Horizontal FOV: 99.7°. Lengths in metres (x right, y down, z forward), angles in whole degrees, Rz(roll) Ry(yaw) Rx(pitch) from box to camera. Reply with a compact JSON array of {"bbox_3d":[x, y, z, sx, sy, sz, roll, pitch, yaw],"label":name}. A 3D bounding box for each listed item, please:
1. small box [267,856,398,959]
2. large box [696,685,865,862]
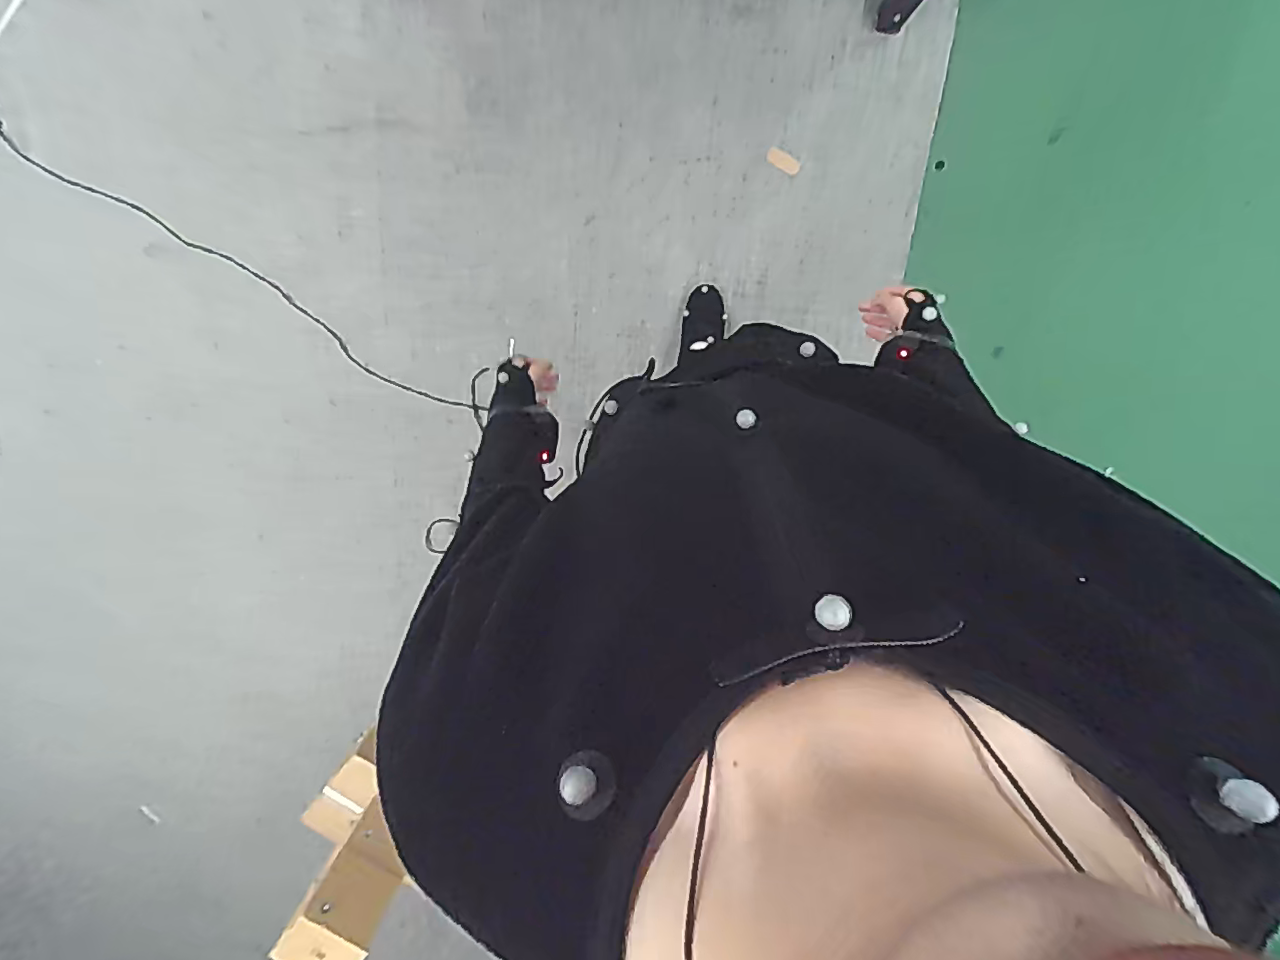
[{"bbox_3d":[-0.709,1.037,1.268,0.179,0.176,0.168,37,104,-6],"label":"small box"},{"bbox_3d":[0.394,0.844,1.587,0.408,0.320,0.320,-9,106,4],"label":"large box"}]
